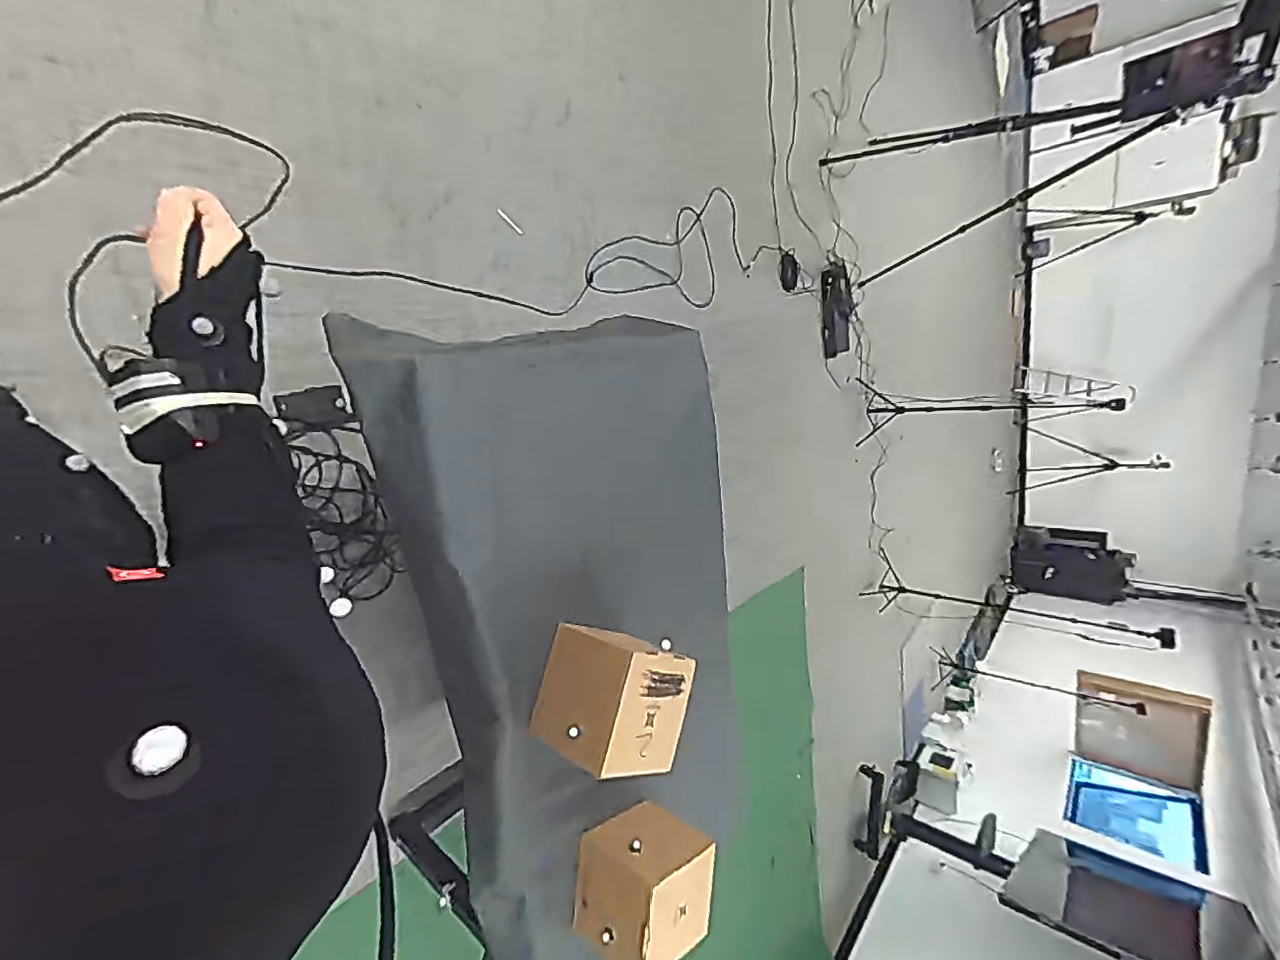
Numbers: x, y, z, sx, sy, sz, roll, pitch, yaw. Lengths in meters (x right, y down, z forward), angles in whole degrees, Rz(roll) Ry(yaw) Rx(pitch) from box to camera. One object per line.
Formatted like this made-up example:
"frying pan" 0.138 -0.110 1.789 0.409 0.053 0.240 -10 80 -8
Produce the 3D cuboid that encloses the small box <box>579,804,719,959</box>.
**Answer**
"small box" 0.014 0.706 0.937 0.179 0.176 0.168 6 89 -49
